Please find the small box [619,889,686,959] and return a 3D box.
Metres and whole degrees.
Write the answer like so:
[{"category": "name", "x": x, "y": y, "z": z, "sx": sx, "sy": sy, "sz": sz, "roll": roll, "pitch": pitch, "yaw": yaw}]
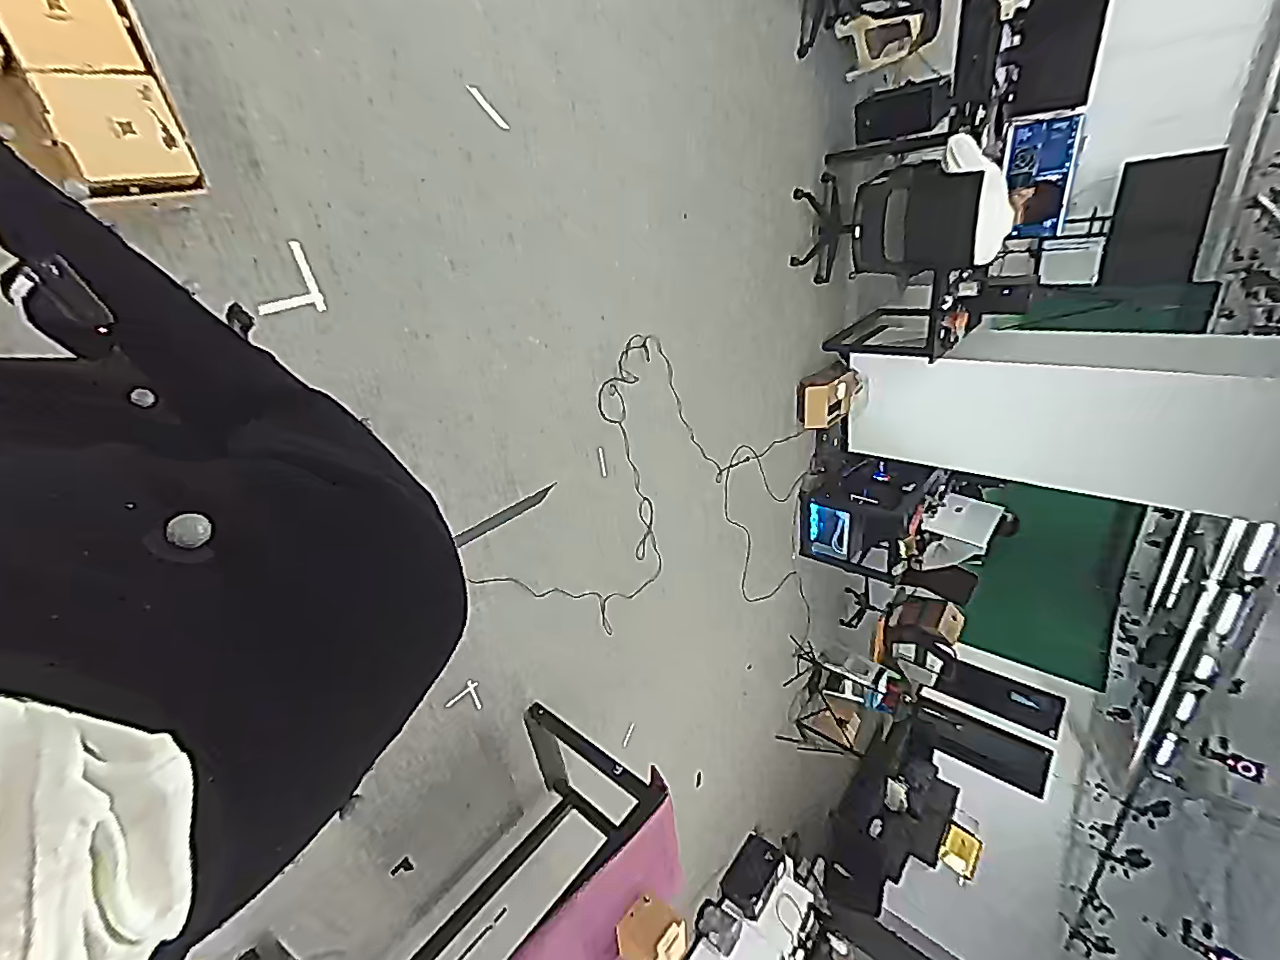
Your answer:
[{"category": "small box", "x": 0.042, "y": 1.587, "z": 1.889, "sx": 0.168, "sy": 0.176, "sz": 0.179, "roll": -25, "pitch": 120, "yaw": -42}]
